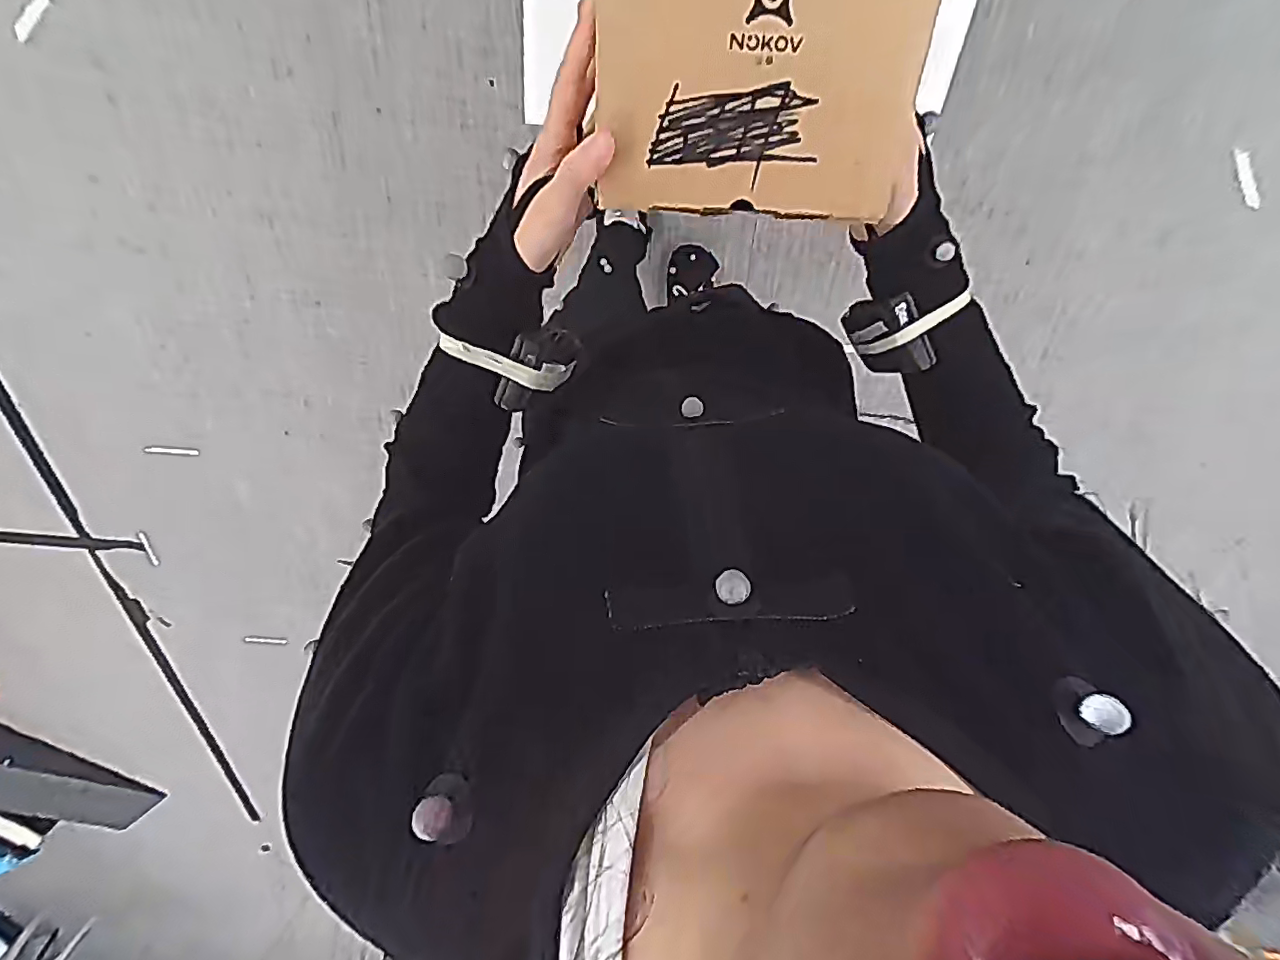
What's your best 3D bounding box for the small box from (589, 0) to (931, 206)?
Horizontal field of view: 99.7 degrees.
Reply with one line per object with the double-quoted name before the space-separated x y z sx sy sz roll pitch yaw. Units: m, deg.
"small box" 0.058 -0.276 0.324 0.168 0.176 0.179 2 123 -2
